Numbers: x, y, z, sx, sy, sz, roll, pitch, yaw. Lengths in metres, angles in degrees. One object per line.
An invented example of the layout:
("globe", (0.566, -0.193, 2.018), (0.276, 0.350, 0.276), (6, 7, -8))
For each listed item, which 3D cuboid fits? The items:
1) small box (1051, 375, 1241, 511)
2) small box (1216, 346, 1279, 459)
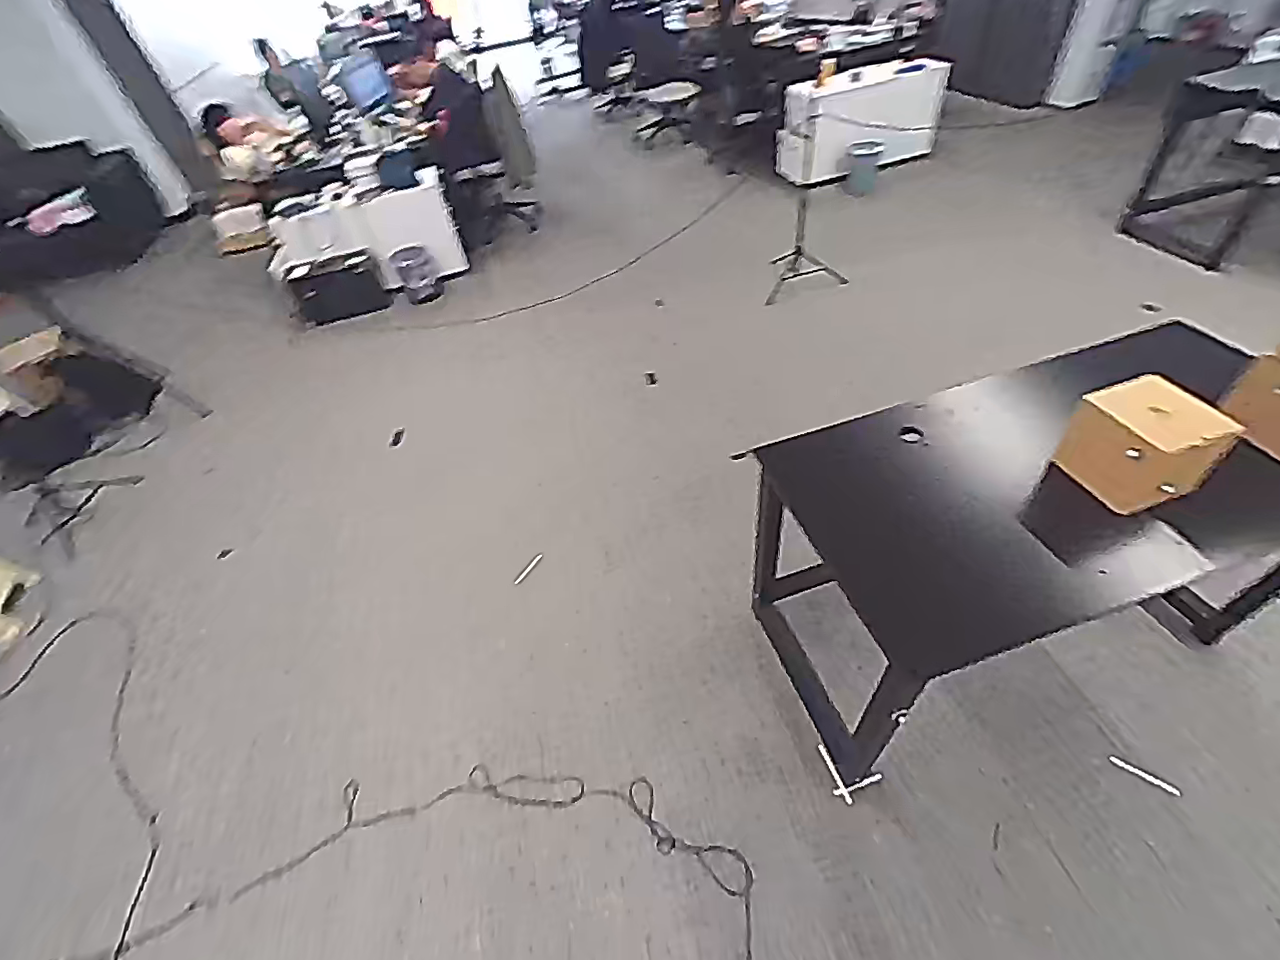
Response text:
("small box", (0.960, -0.071, 1.050), (0.168, 0.176, 0.179), (-18, 47, -7))
("small box", (1.322, -0.158, 1.064), (0.168, 0.176, 0.179), (-15, 46, -2))
